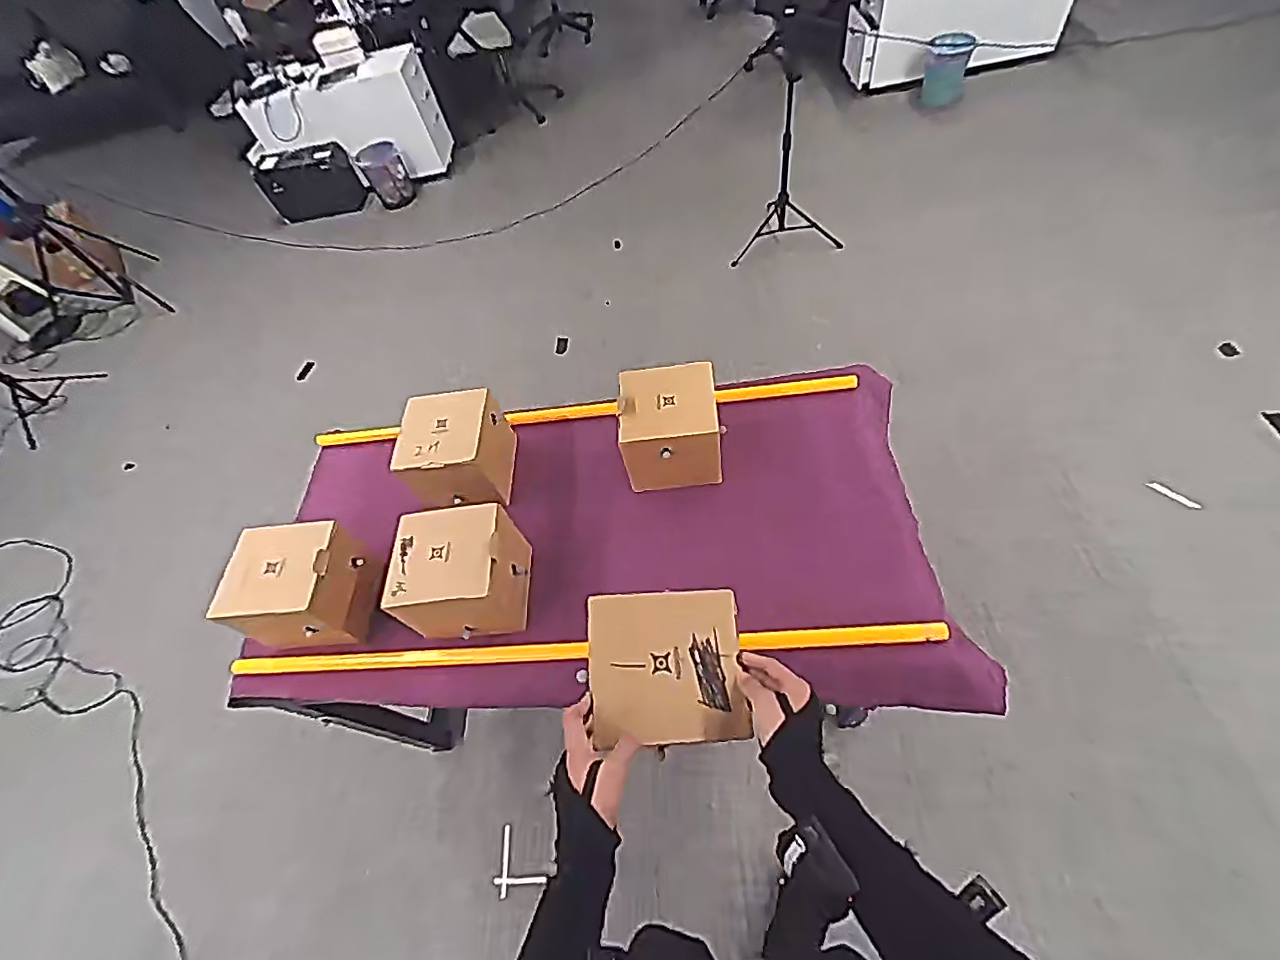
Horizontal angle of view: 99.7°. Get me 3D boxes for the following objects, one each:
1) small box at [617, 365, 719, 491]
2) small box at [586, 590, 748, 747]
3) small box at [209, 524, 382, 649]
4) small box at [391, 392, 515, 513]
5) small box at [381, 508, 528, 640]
[{"bbox_3d":[0.057,-0.093,1.029,0.179,0.176,0.168,-6,57,8],"label":"small box"},{"bbox_3d":[0.021,0.241,0.684,0.179,0.176,0.168,-1,63,-6],"label":"small box"},{"bbox_3d":[-0.594,0.194,0.962,0.179,0.176,0.168,-6,55,5],"label":"small box"},{"bbox_3d":[-0.361,-0.050,1.081,0.168,0.176,0.179,-6,58,8],"label":"small box"},{"bbox_3d":[-0.302,0.166,0.926,0.179,0.176,0.168,-7,56,6],"label":"small box"}]
